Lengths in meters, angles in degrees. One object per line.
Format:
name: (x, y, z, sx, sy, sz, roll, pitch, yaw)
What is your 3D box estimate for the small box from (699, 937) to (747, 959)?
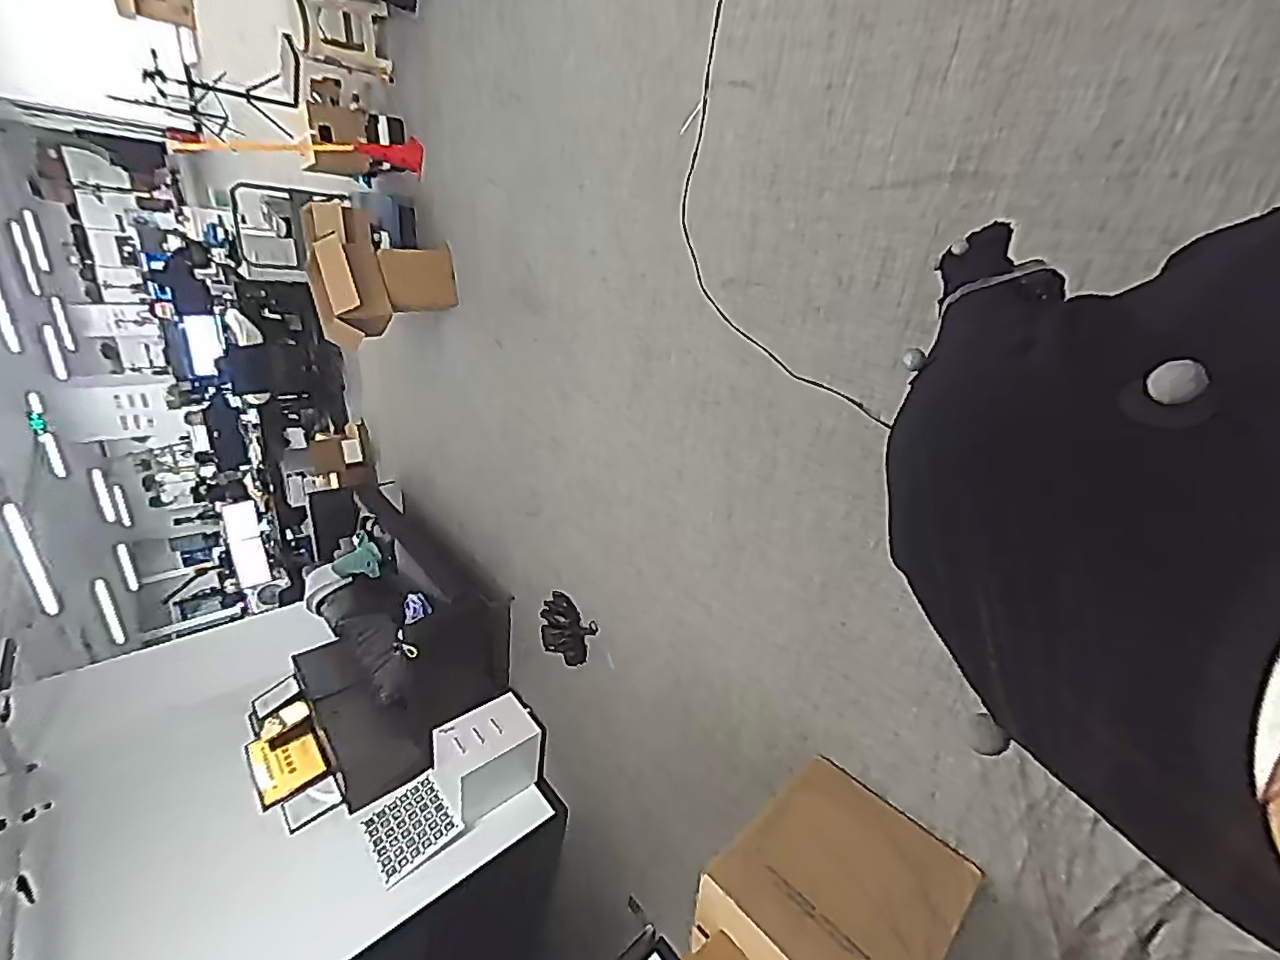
small box: (0.217, 1.344, 1.386, 0.179, 0.176, 0.168, 20, 107, 46)
